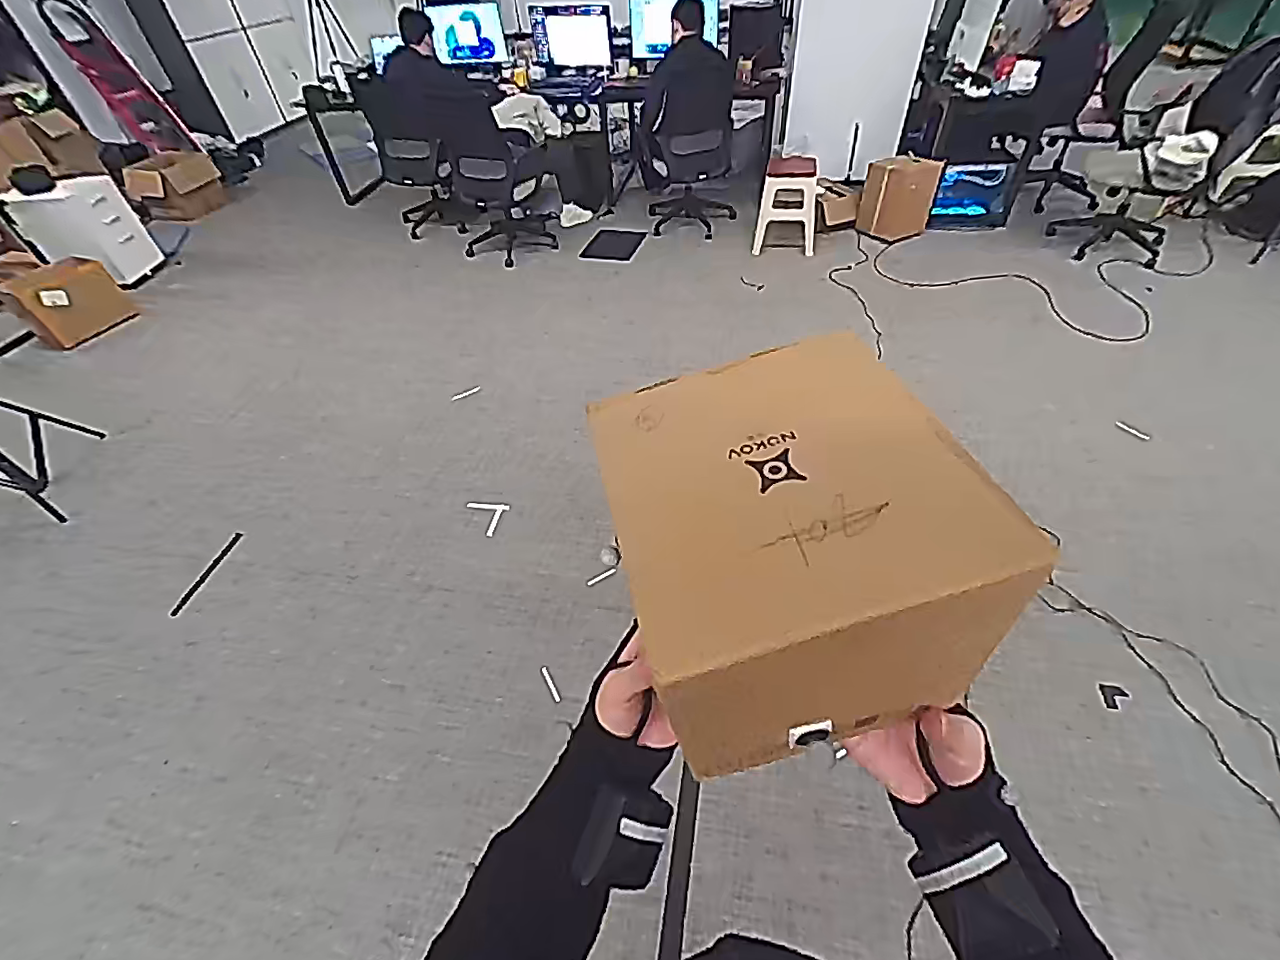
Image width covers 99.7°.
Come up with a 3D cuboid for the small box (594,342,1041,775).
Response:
[{"bbox_3d":[0.082,0.050,0.334,0.168,0.176,0.179,-18,48,-2],"label":"small box"}]
